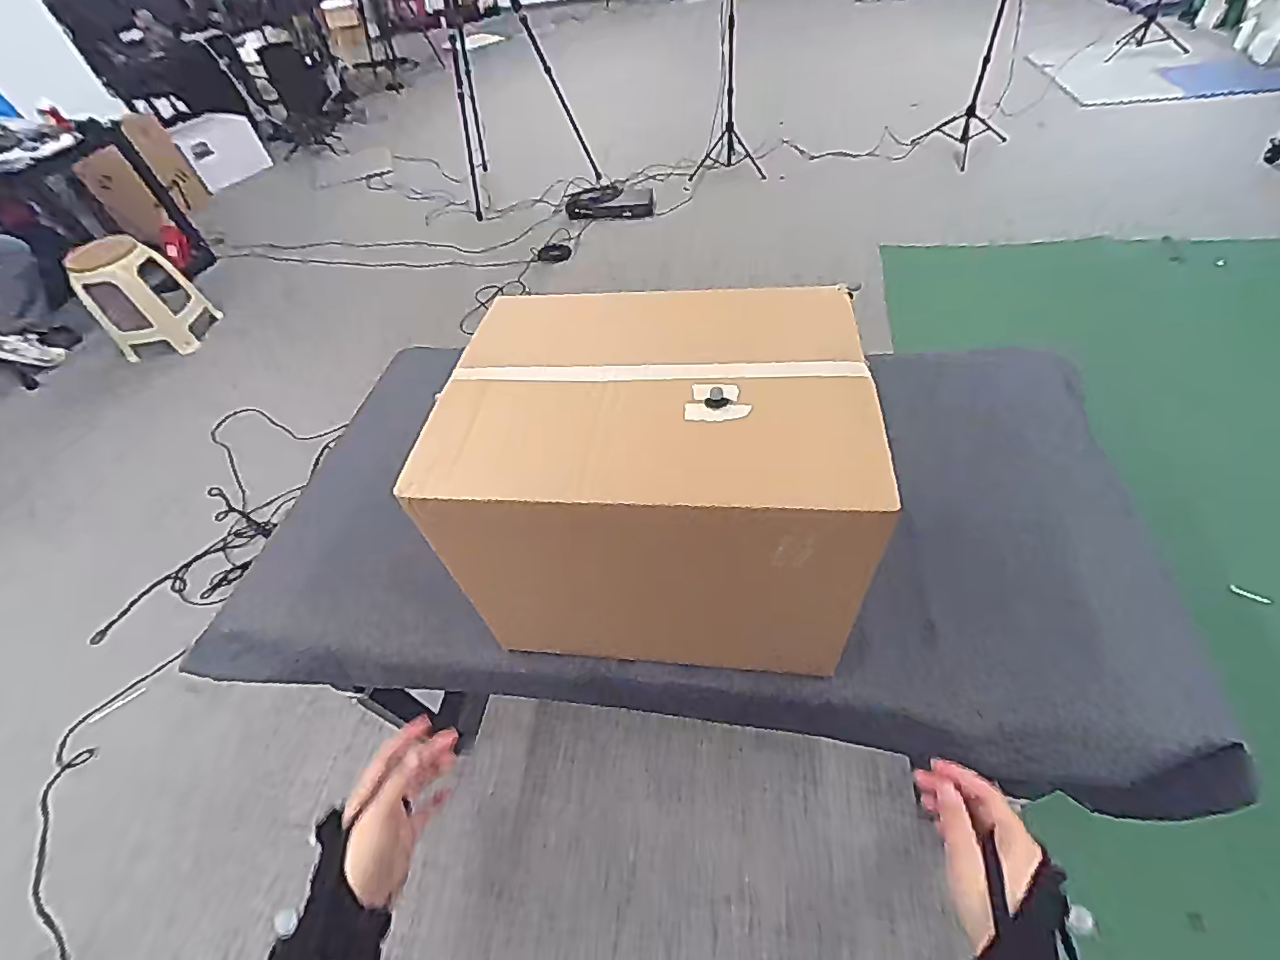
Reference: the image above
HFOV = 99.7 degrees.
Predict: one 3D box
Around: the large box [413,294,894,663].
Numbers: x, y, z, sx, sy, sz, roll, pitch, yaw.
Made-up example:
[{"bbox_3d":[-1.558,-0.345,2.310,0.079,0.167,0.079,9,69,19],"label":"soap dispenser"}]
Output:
[{"bbox_3d":[0.026,0.000,0.643,0.408,0.320,0.320,2,49,8],"label":"large box"}]
